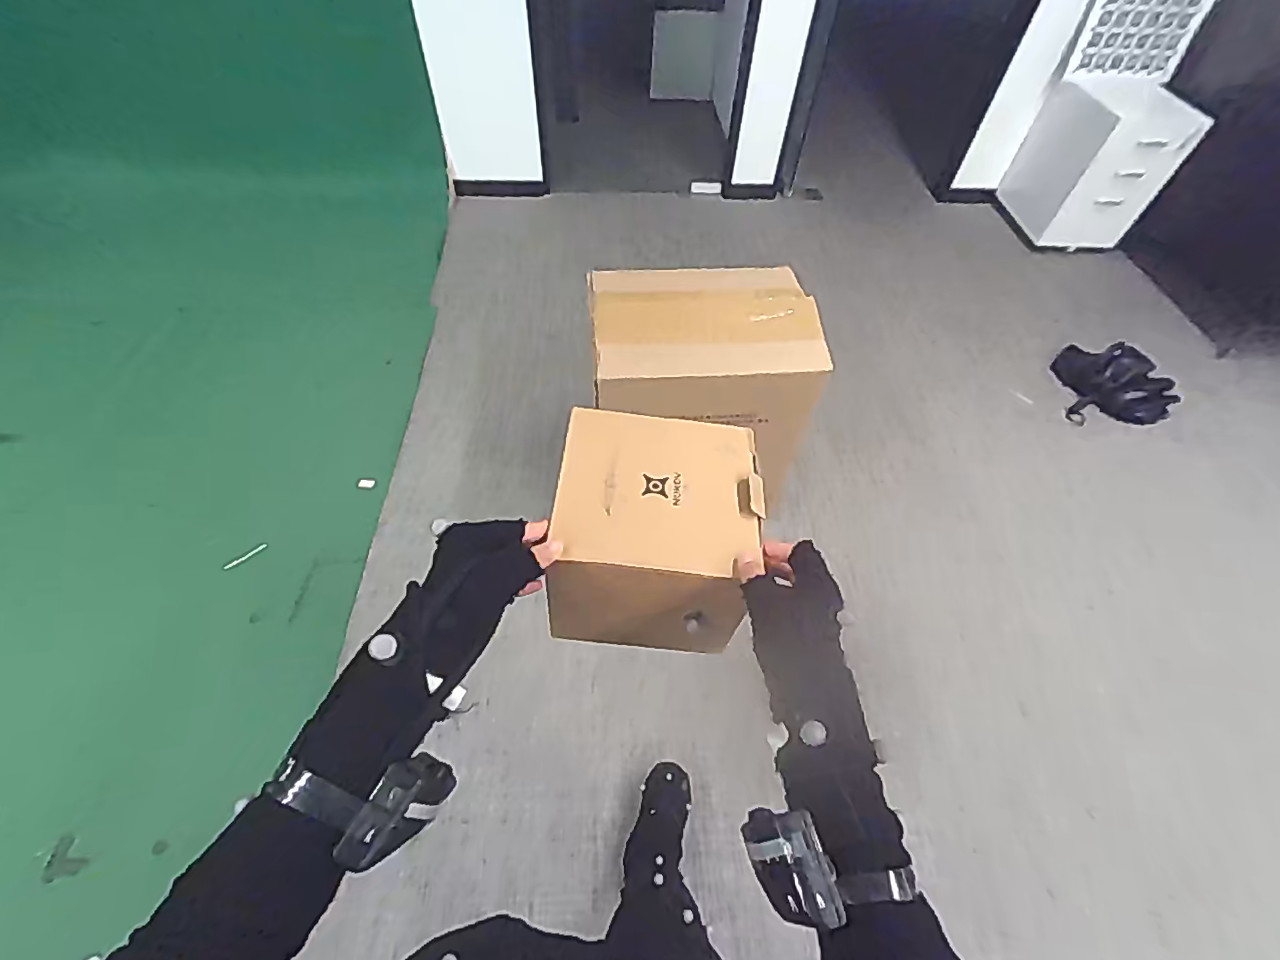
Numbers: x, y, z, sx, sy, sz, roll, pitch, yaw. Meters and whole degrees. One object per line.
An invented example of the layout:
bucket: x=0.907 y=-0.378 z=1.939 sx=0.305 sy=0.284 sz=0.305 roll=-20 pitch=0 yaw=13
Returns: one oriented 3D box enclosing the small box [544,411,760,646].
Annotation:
small box: x=0.008 y=0.054 z=0.538 sx=0.179 sy=0.176 sz=0.168 roll=4 pitch=51 yaw=-1
